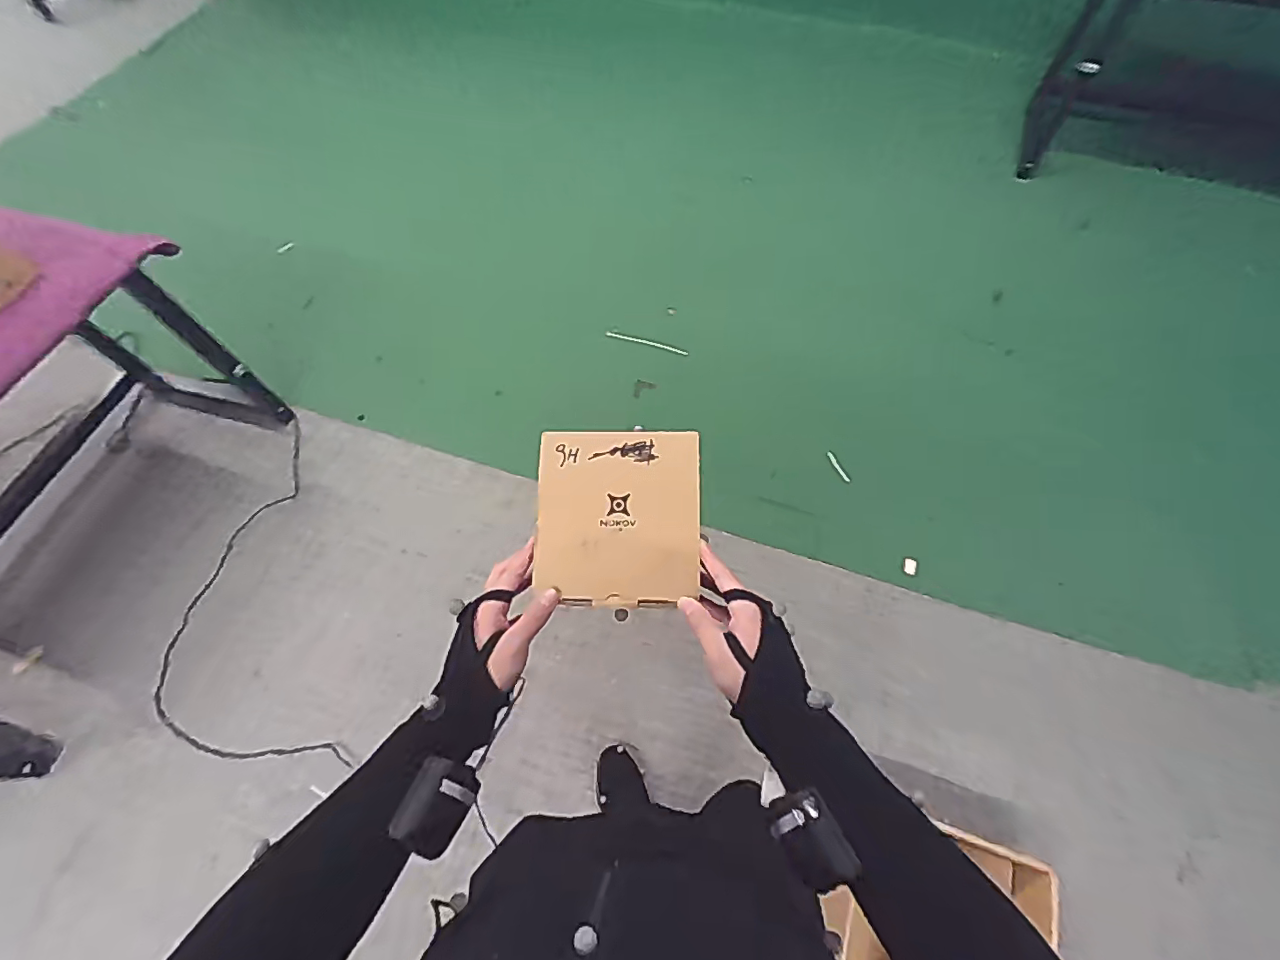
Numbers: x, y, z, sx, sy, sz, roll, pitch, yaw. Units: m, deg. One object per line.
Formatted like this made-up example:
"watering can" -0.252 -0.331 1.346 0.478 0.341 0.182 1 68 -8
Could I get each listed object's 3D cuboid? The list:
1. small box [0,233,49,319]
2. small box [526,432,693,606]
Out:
"small box" -1.426 -0.453 1.121 0.179 0.176 0.168 17 66 11
"small box" -0.024 0.053 0.619 0.168 0.176 0.179 0 76 3
